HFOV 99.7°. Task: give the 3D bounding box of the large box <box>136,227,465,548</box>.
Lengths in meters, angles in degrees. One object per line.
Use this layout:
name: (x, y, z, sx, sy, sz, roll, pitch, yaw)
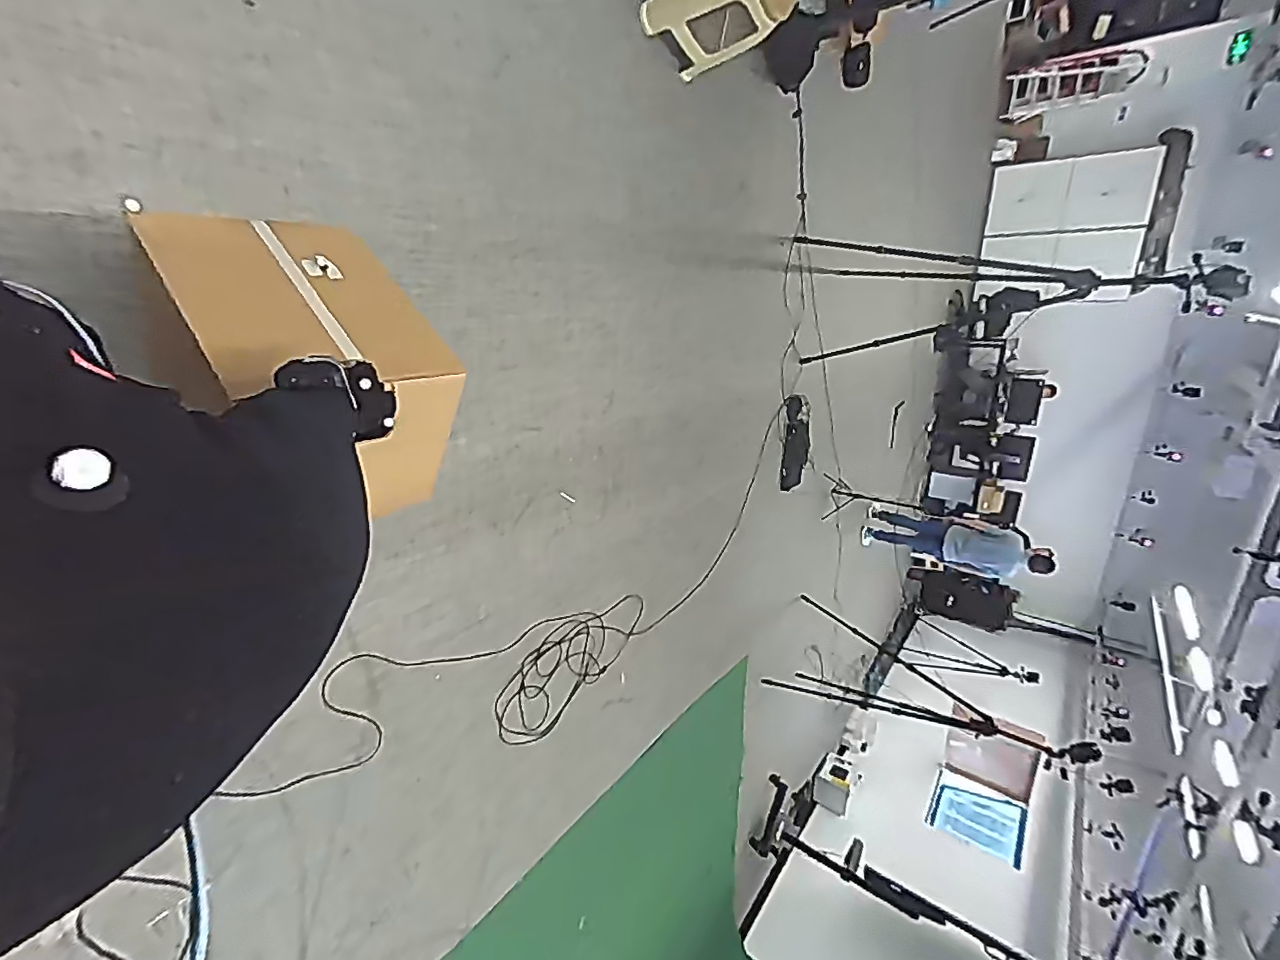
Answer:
large box: (-0.559, -0.164, 0.910, 0.320, 0.408, 0.320, -20, 151, -45)
